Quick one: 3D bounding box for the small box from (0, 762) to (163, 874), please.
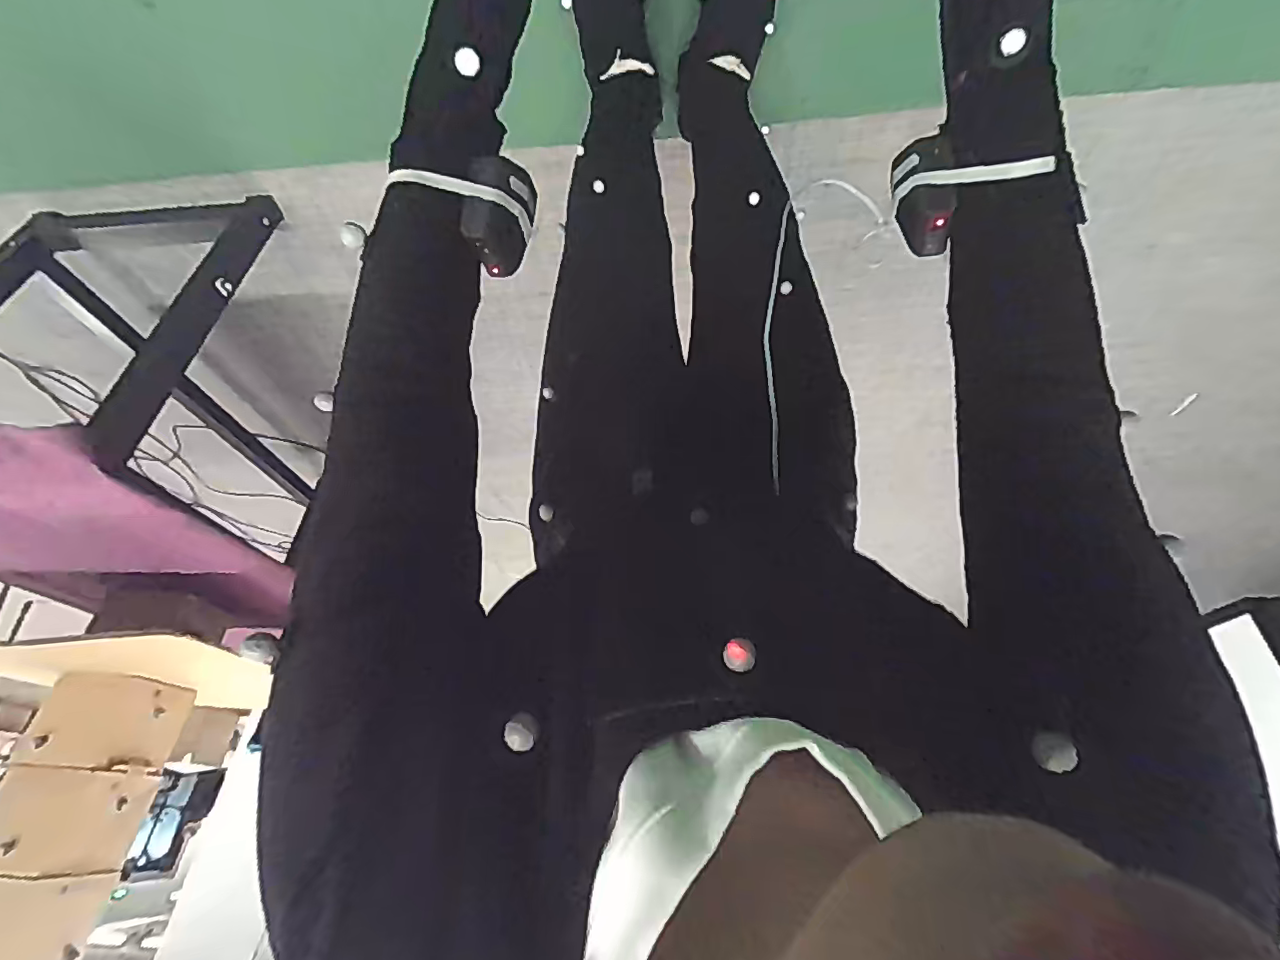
[{"bbox_3d":[-1.088,0.641,1.035,0.179,0.176,0.168,0,148,6],"label":"small box"}]

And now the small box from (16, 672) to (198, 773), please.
[{"bbox_3d":[-1.085,0.502,1.121,0.179,0.176,0.168,1,149,4],"label":"small box"}]
